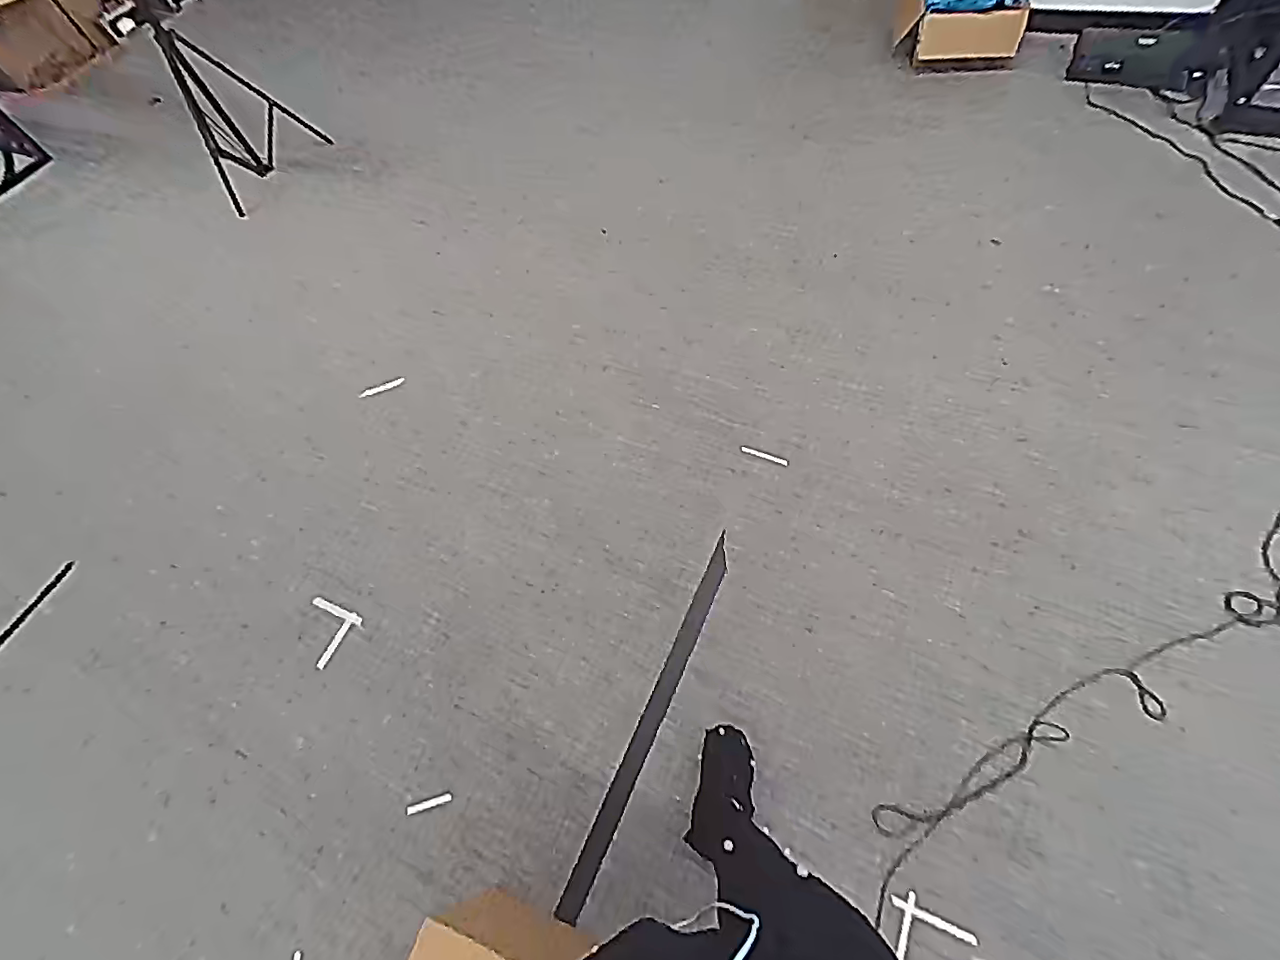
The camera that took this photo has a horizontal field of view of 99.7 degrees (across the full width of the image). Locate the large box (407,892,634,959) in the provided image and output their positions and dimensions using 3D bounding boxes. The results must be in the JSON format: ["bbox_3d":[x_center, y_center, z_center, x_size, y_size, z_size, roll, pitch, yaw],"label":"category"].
[{"bbox_3d":[-0.202,0.974,0.908,0.408,0.320,0.320,13,62,17],"label":"large box"}]
